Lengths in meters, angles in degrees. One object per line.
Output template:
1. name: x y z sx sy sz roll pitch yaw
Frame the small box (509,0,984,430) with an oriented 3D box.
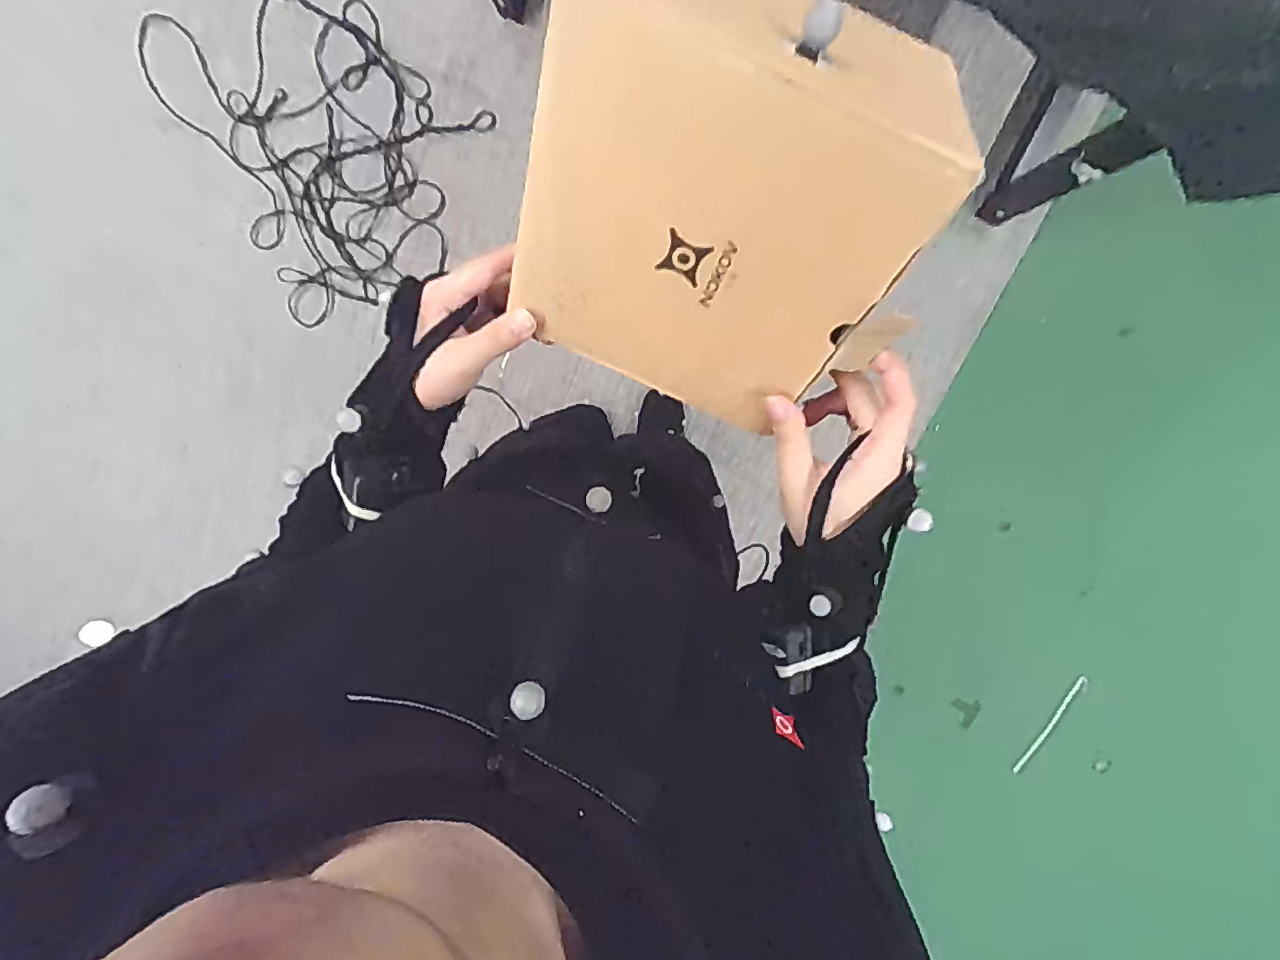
1. small box: 0.049 -0.166 0.309 0.179 0.176 0.168 23 141 -5
